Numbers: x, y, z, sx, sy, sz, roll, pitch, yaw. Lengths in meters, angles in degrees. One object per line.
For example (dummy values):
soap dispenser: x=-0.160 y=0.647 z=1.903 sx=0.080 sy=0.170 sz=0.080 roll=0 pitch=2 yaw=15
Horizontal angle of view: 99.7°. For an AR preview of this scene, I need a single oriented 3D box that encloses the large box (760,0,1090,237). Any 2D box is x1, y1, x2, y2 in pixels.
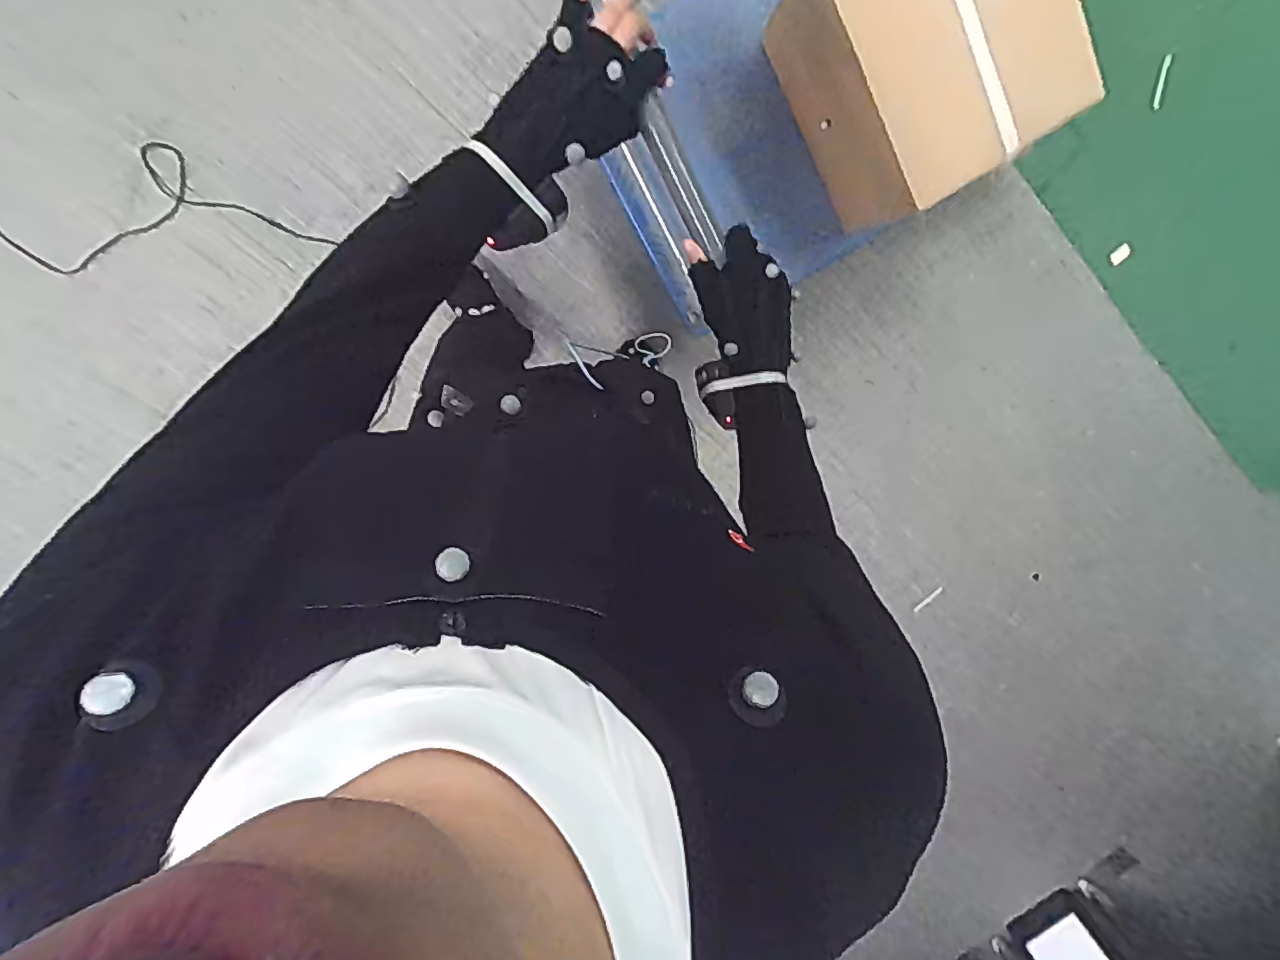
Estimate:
large box: x=0.460 y=-0.706 z=0.941 sx=0.320 sy=0.320 sz=0.408 roll=-30 pitch=106 yaw=7
